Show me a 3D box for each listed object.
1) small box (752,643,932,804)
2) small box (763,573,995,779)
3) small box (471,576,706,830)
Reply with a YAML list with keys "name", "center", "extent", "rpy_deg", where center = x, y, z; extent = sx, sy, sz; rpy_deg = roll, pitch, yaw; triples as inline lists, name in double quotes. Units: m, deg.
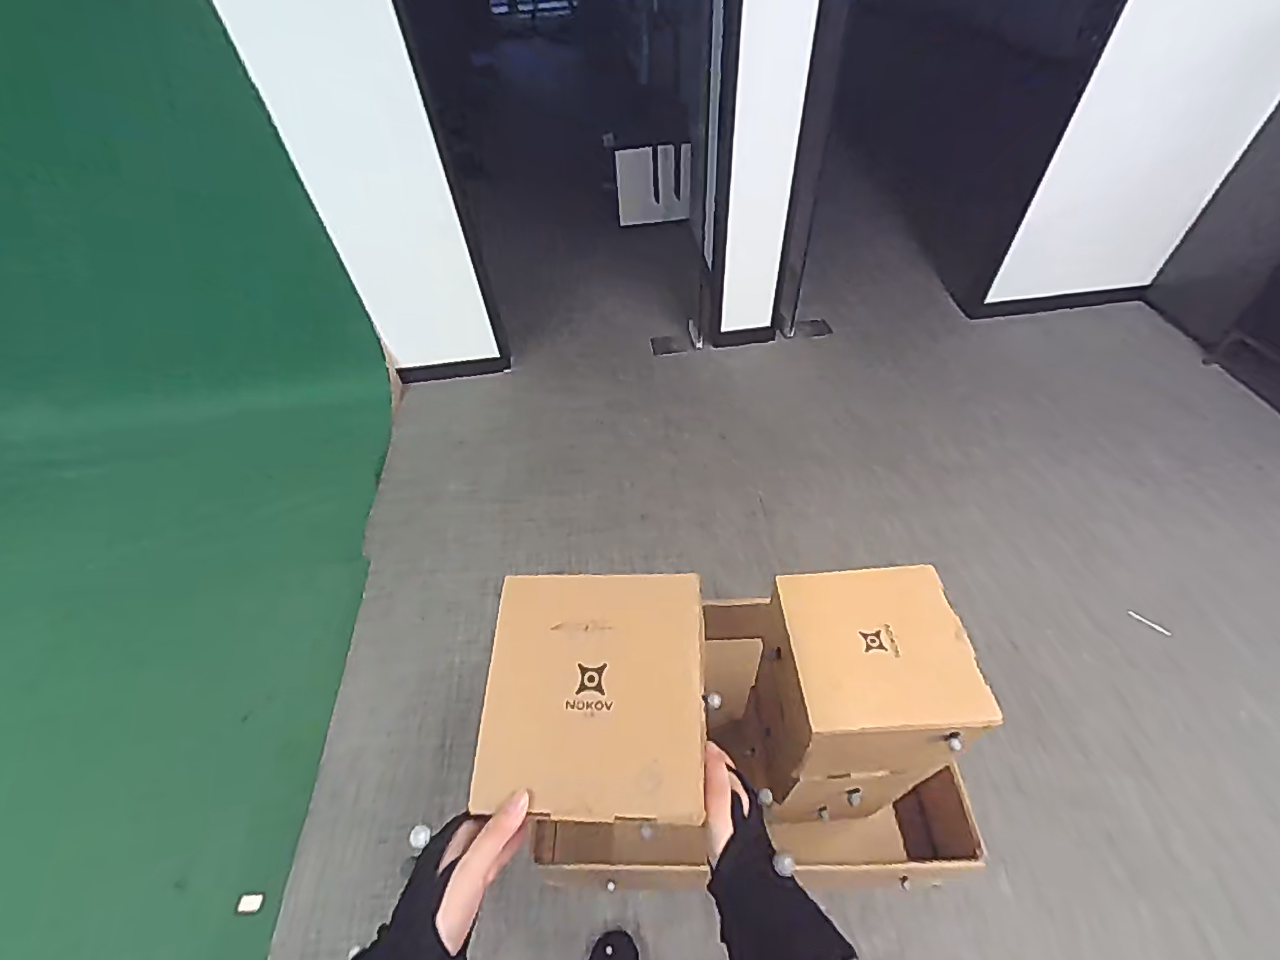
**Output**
- name: "small box"
  center: [0.253, 0.326, 0.727]
  extent: [0.168, 0.176, 0.179]
  rpy_deg: [-4, 50, 0]
- name: "small box"
  center: [0.240, 0.222, 0.602]
  extent: [0.179, 0.176, 0.168]
  rpy_deg: [-4, 49, 1]
- name: "small box"
  center: [-0.026, 0.196, 0.481]
  extent: [0.168, 0.176, 0.179]
  rpy_deg: [0, 61, 7]
